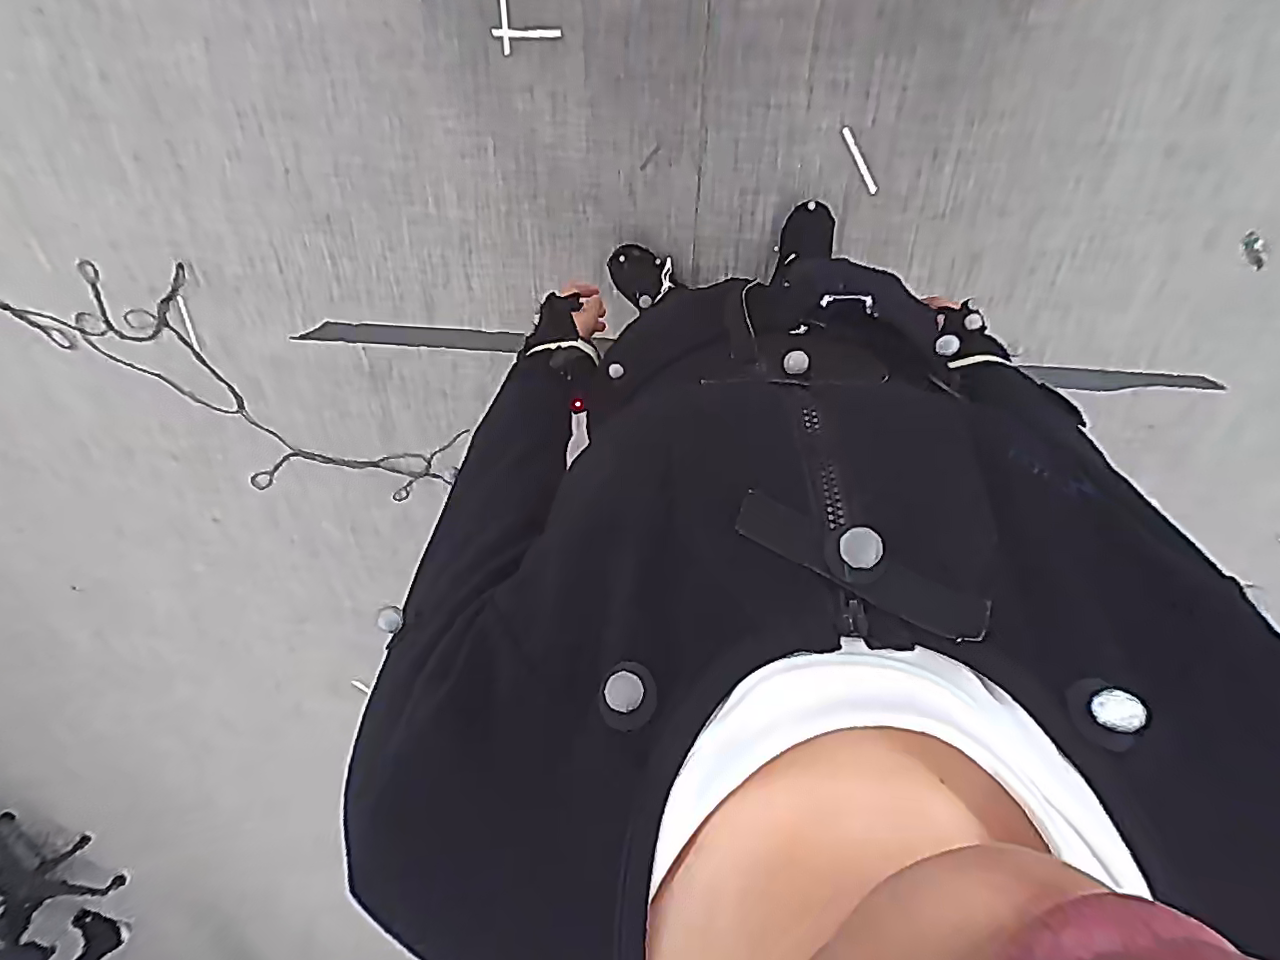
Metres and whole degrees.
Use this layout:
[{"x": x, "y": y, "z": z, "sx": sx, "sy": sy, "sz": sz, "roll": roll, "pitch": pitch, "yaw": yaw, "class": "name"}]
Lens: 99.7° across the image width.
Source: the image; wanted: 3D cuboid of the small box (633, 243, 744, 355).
[{"x": 0.100, "y": -0.386, "z": 1.154, "sx": 0.179, "sy": 0.176, "sz": 0.168, "roll": -37, "pitch": 106, "yaw": 16, "class": "small box"}]
